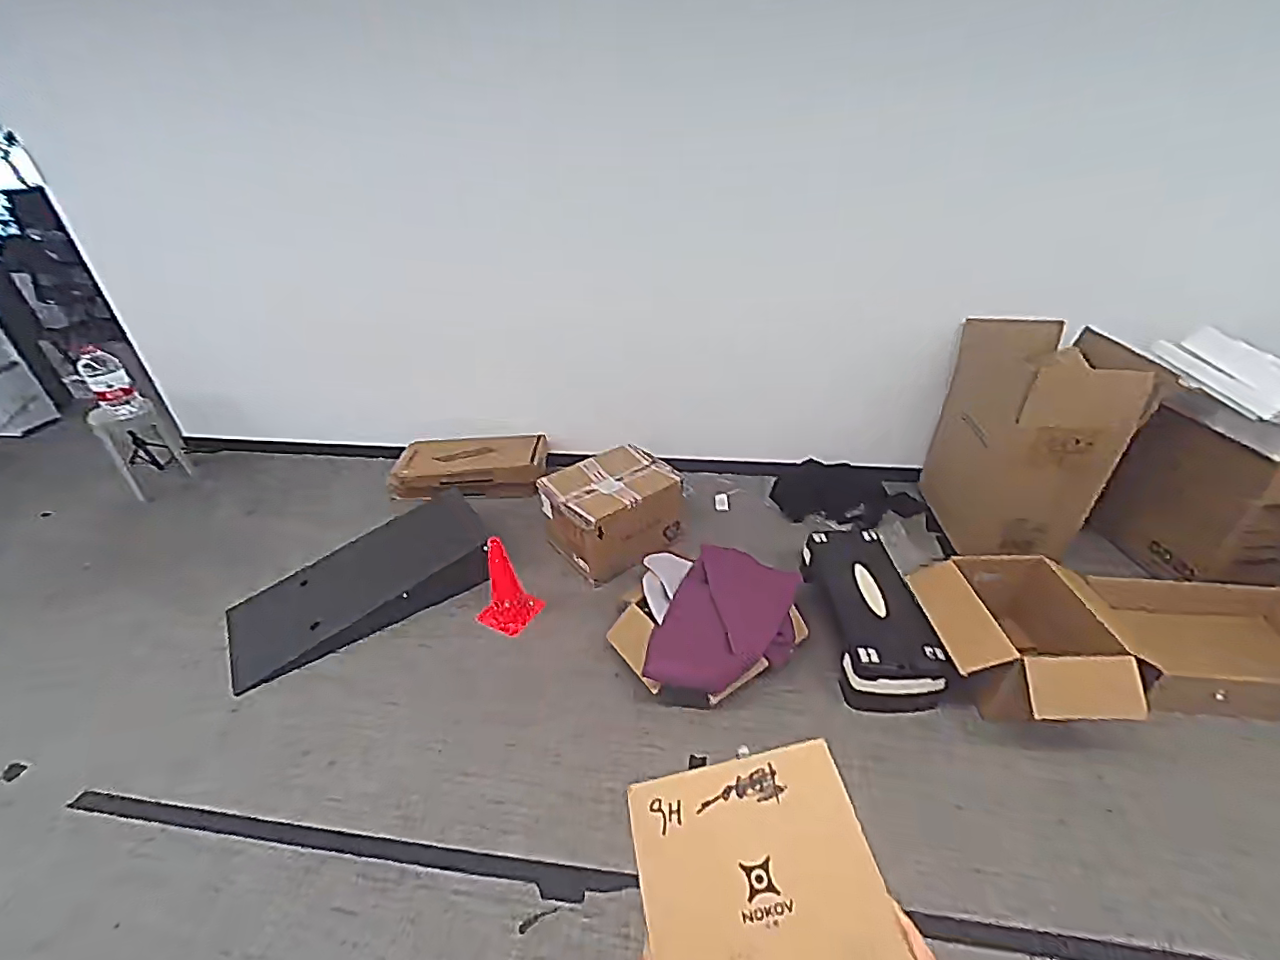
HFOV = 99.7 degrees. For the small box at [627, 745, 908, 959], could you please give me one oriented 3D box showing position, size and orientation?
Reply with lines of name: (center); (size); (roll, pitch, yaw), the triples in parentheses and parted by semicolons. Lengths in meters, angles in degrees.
small box: (0.095, 0.343, 0.430); (0.168, 0.176, 0.179); (-13, 47, -2)
